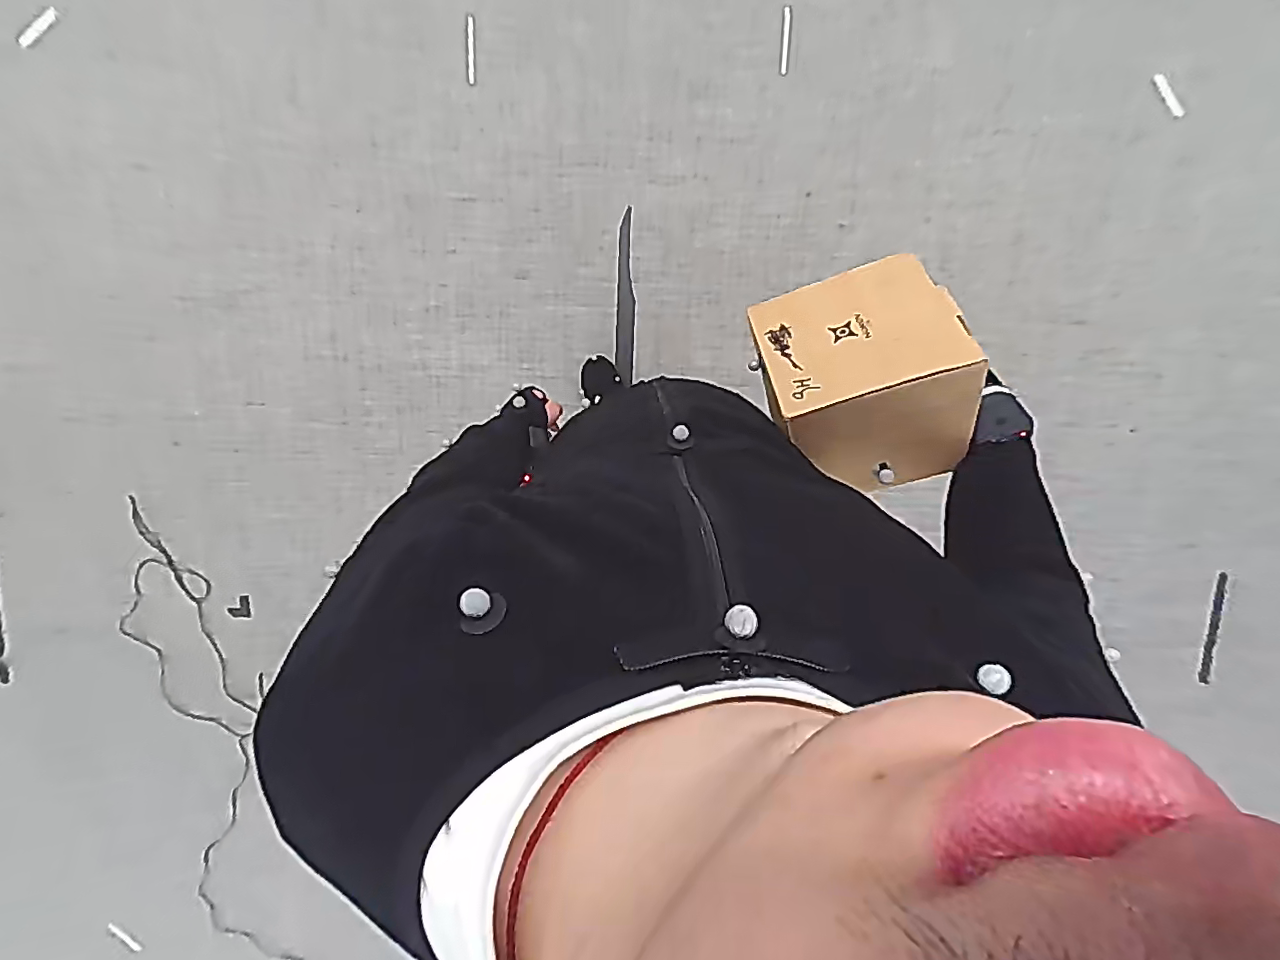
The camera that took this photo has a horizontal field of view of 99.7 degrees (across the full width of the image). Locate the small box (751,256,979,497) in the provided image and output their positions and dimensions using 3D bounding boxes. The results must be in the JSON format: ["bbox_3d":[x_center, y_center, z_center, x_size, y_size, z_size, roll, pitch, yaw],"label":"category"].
[{"bbox_3d":[0.235,-0.105,0.600,0.179,0.168,0.176,-16,142,12],"label":"small box"}]
